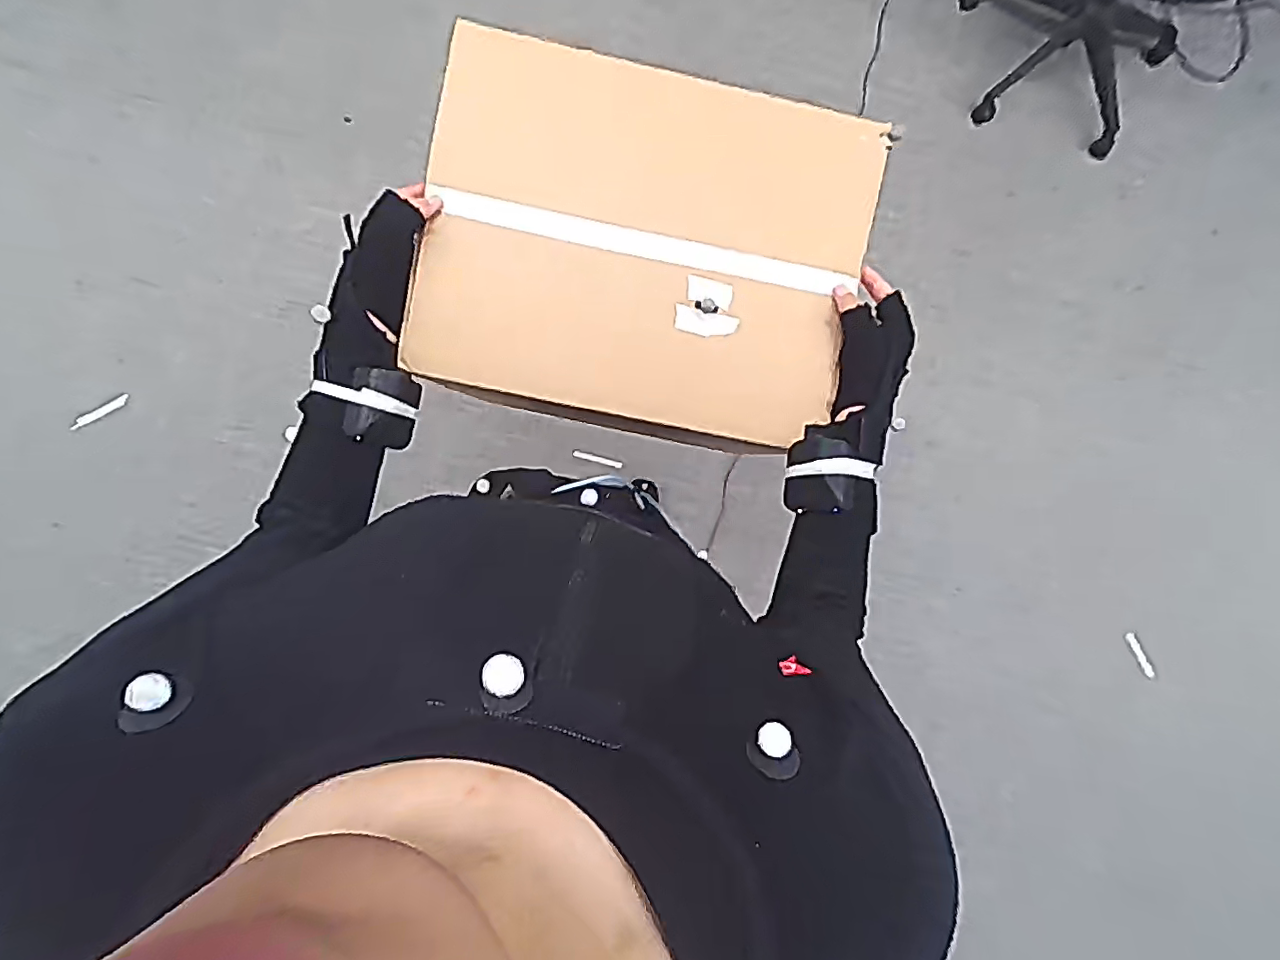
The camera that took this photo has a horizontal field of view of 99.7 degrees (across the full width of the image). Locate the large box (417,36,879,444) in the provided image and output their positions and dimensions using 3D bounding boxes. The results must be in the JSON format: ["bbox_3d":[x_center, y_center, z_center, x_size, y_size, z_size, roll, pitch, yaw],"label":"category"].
[{"bbox_3d":[-0.001,-0.230,0.658,0.408,0.320,0.320,11,94,-5],"label":"large box"}]
